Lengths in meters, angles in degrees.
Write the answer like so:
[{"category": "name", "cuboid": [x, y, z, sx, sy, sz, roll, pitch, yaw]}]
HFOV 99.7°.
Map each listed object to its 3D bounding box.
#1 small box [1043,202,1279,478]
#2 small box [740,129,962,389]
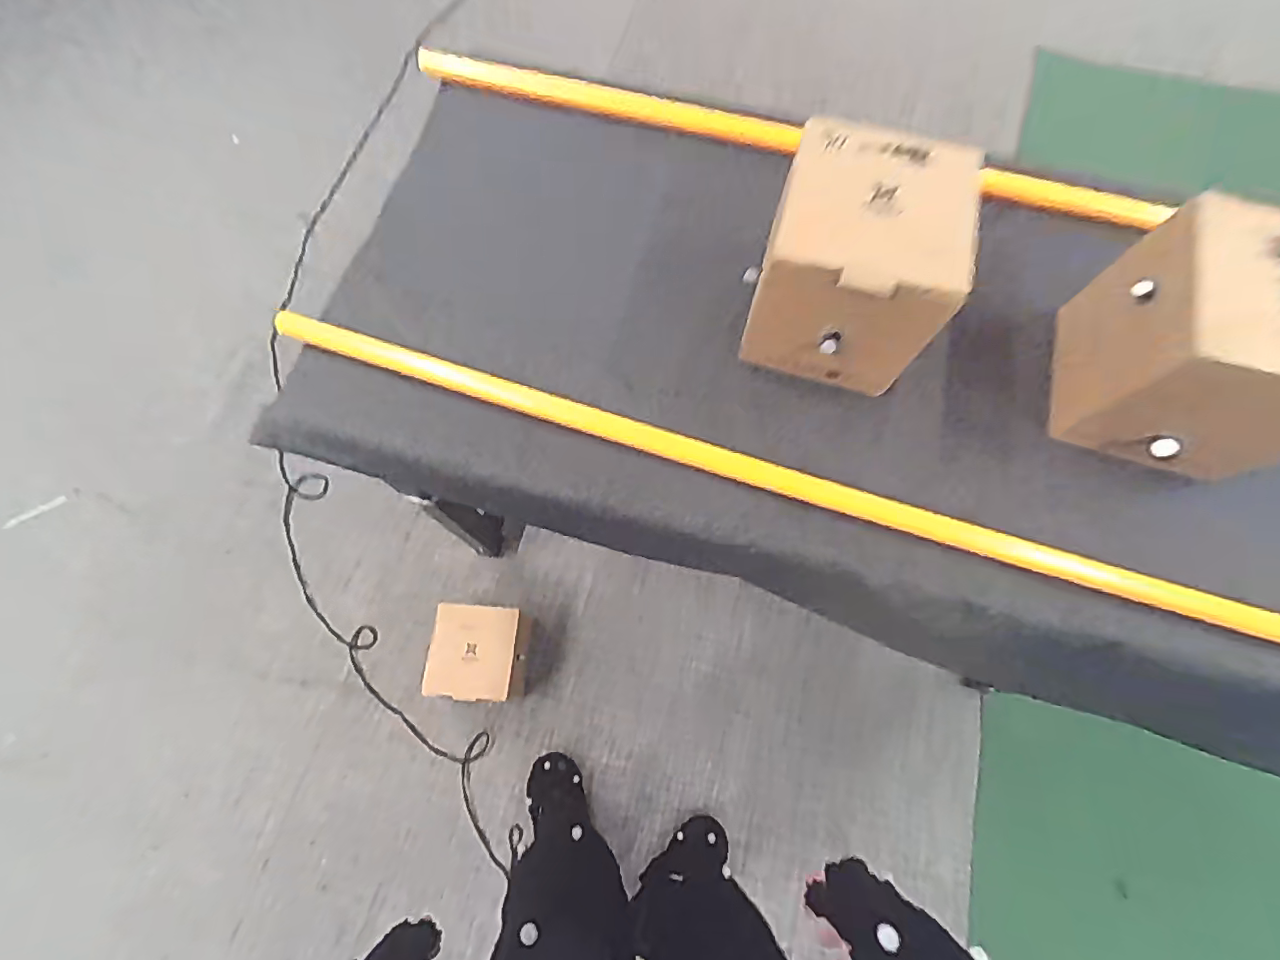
[{"category": "small box", "cuboid": [0.538, -0.126, 0.532, 0.168, 0.176, 0.179, 17, 72, 6]}, {"category": "small box", "cuboid": [0.207, -0.219, 0.565, 0.168, 0.176, 0.179, 12, 70, 5]}]
